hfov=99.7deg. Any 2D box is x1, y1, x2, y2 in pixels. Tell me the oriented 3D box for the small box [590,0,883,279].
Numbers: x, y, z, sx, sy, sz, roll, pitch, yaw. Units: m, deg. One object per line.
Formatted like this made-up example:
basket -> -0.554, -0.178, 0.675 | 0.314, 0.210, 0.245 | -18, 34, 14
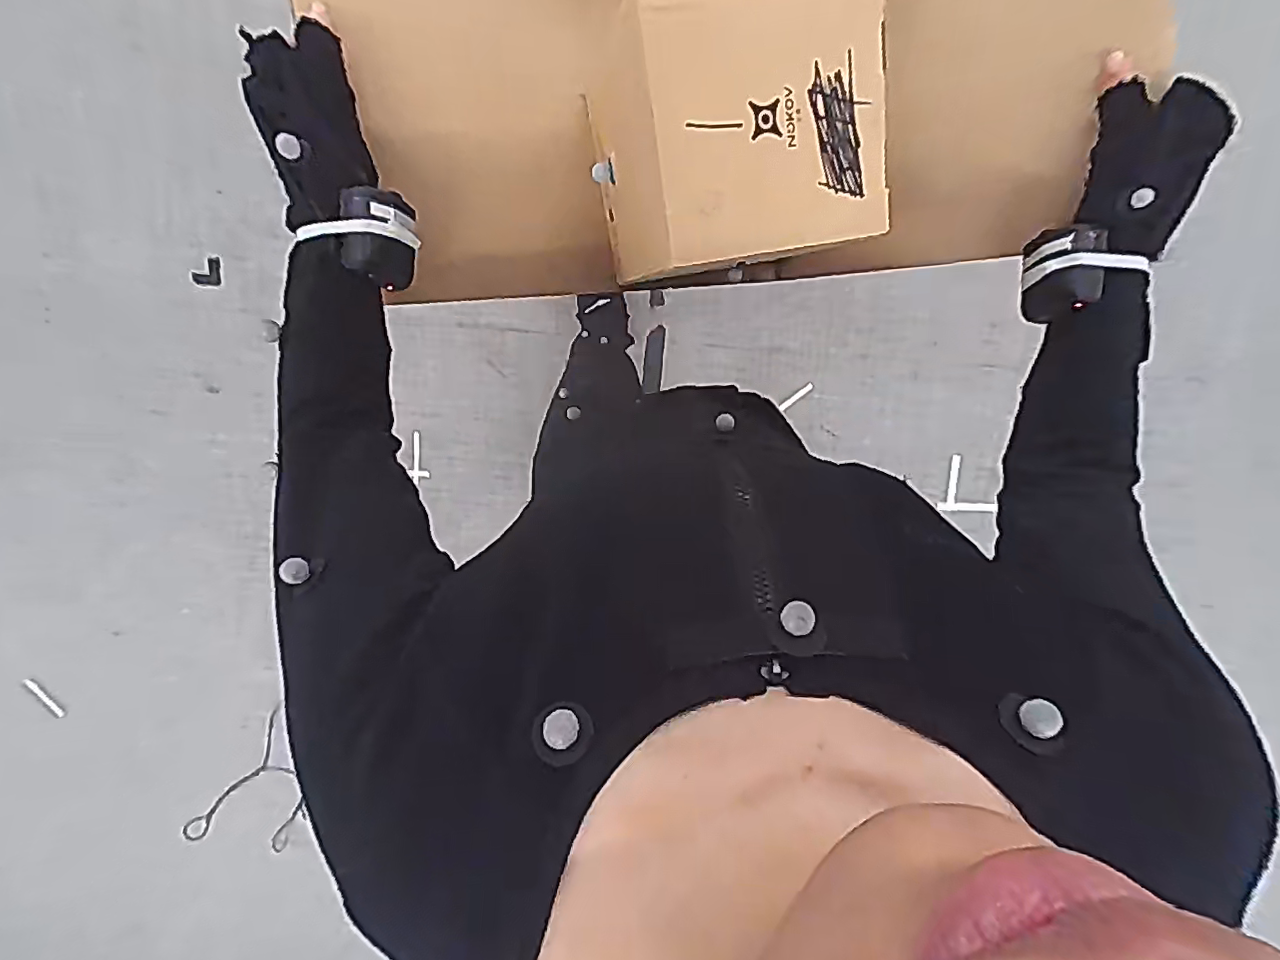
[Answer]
small box -> 0.070, -0.267, 0.443 | 0.179, 0.176, 0.168 | -14, 108, -12
